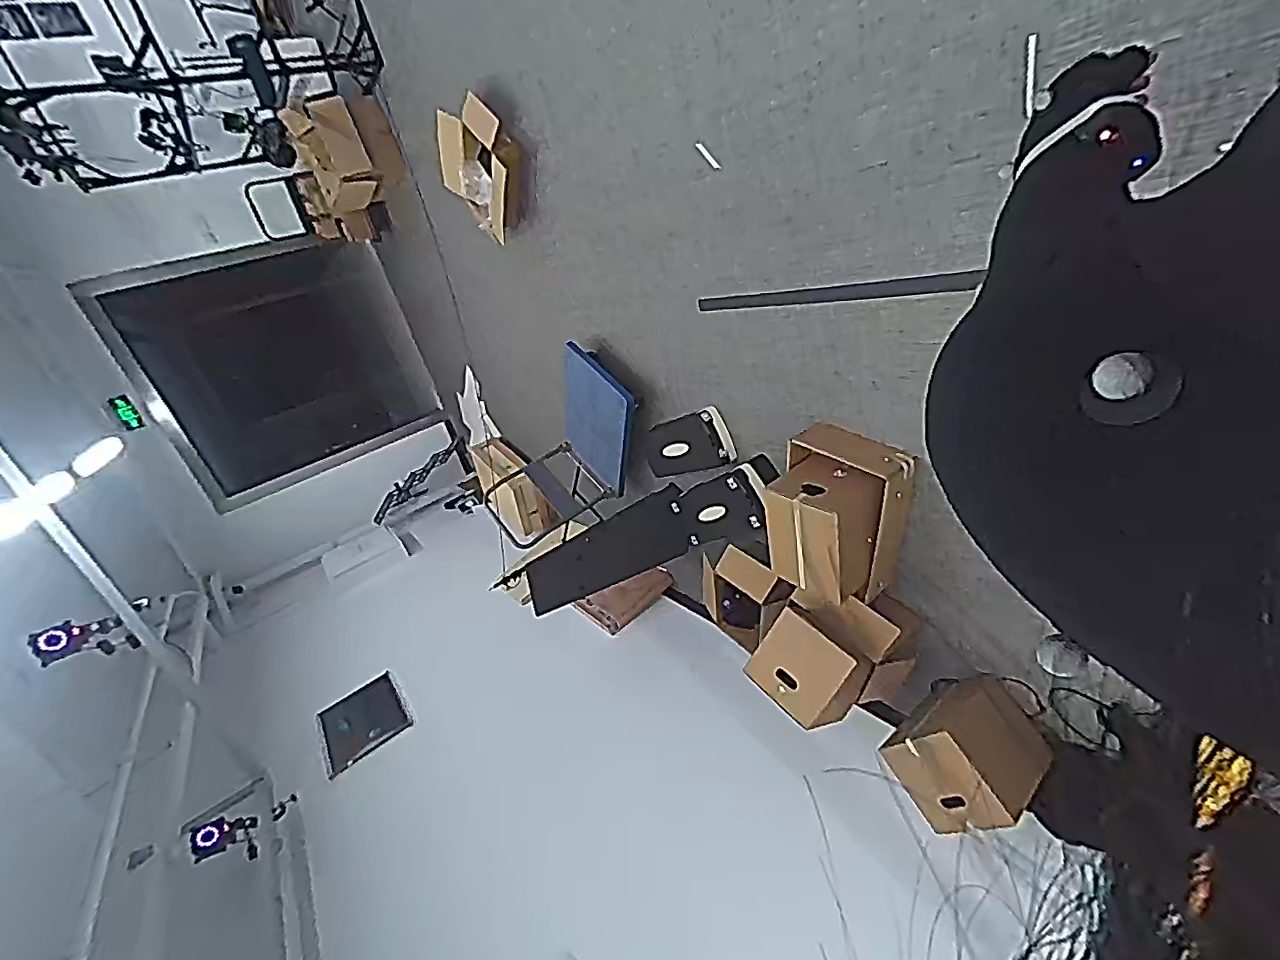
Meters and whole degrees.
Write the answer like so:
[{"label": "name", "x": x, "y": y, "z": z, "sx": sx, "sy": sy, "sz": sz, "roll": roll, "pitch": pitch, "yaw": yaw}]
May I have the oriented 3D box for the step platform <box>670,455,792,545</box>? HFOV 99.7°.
[{"label": "step platform", "x": 0.412, "y": 0.117, "z": 2.632, "sx": 0.286, "sy": 0.204, "sz": 0.684, "roll": 60, "pitch": 152, "yaw": 1}]
